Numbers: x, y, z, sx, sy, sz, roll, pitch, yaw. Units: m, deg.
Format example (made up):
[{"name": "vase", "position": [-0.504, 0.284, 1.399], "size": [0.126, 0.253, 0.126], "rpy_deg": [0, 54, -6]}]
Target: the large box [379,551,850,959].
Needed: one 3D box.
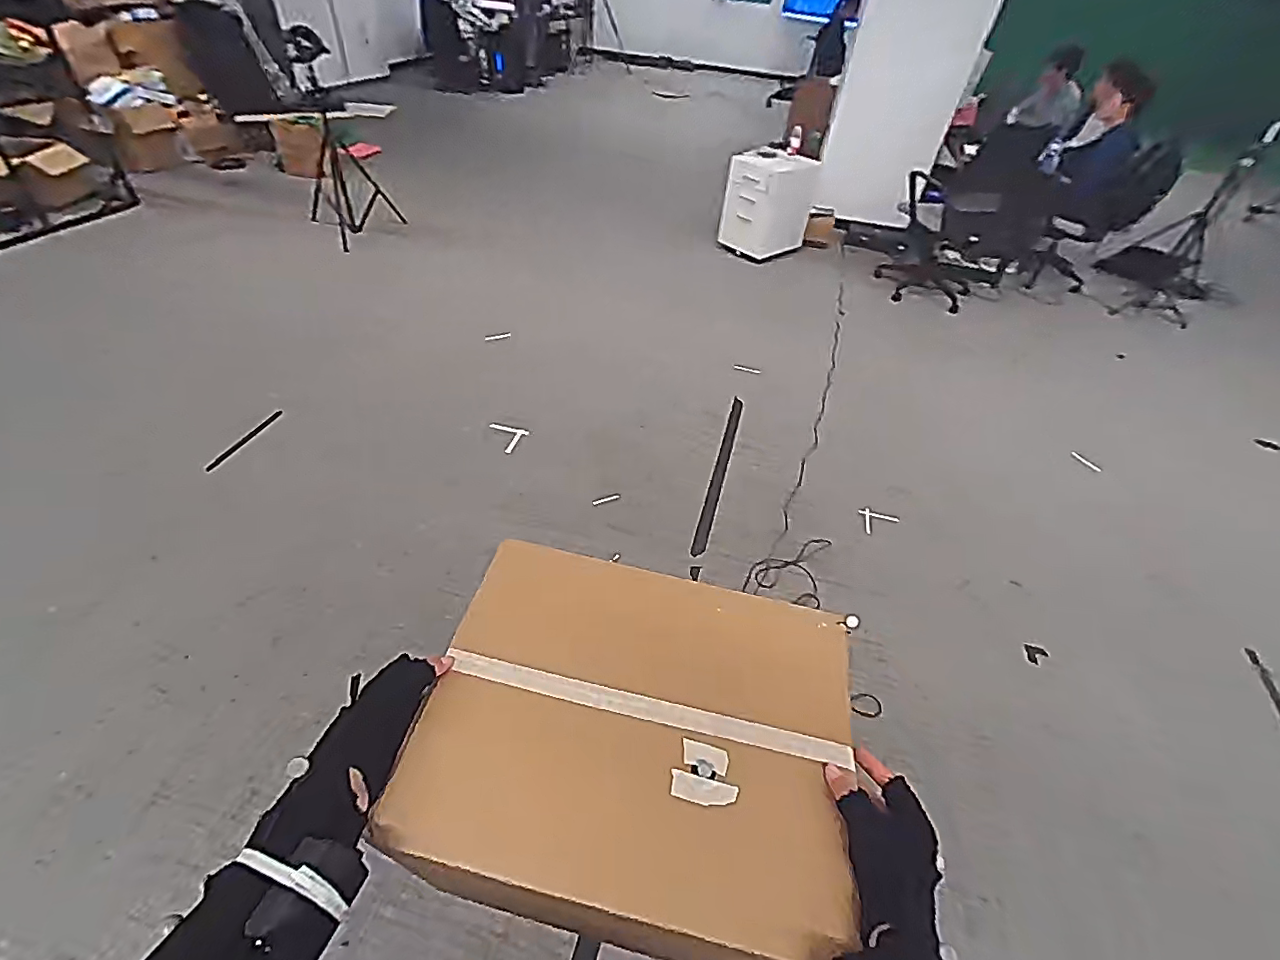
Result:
[{"name": "large box", "position": [-0.012, 0.332, 0.645], "size": [0.408, 0.320, 0.320], "rpy_deg": [13, 48, 5]}]
